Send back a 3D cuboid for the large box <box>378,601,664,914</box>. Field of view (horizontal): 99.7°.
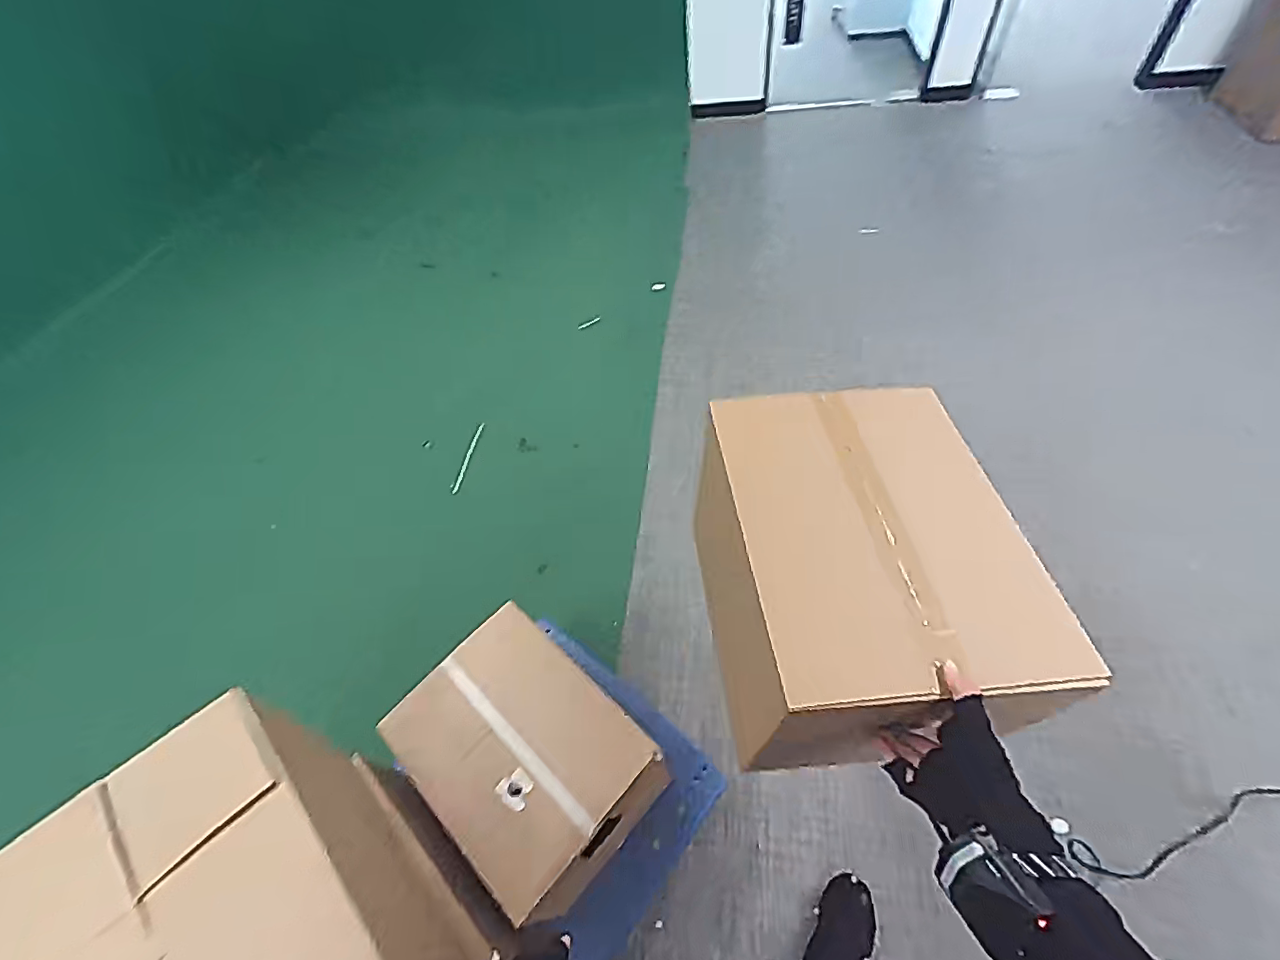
[{"bbox_3d":[-0.205,0.516,1.038,0.408,0.320,0.320,35,66,27],"label":"large box"}]
